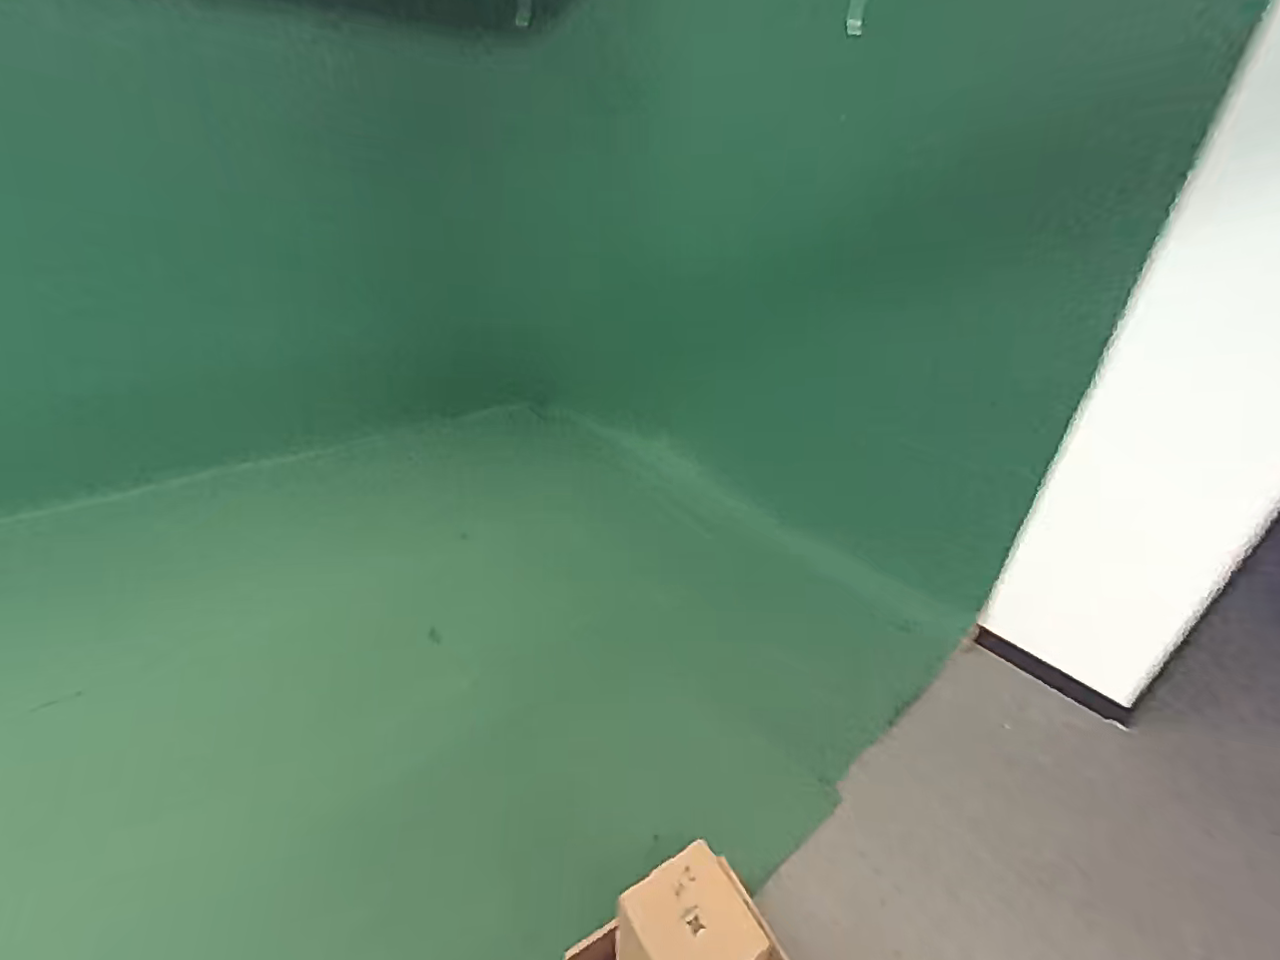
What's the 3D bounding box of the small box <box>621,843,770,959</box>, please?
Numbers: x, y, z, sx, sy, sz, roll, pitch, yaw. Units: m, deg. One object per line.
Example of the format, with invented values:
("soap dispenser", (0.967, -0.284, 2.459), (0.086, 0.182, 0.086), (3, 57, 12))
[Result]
("small box", (0.081, 0.748, 0.872), (0.168, 0.176, 0.179), (-17, 36, -27))
